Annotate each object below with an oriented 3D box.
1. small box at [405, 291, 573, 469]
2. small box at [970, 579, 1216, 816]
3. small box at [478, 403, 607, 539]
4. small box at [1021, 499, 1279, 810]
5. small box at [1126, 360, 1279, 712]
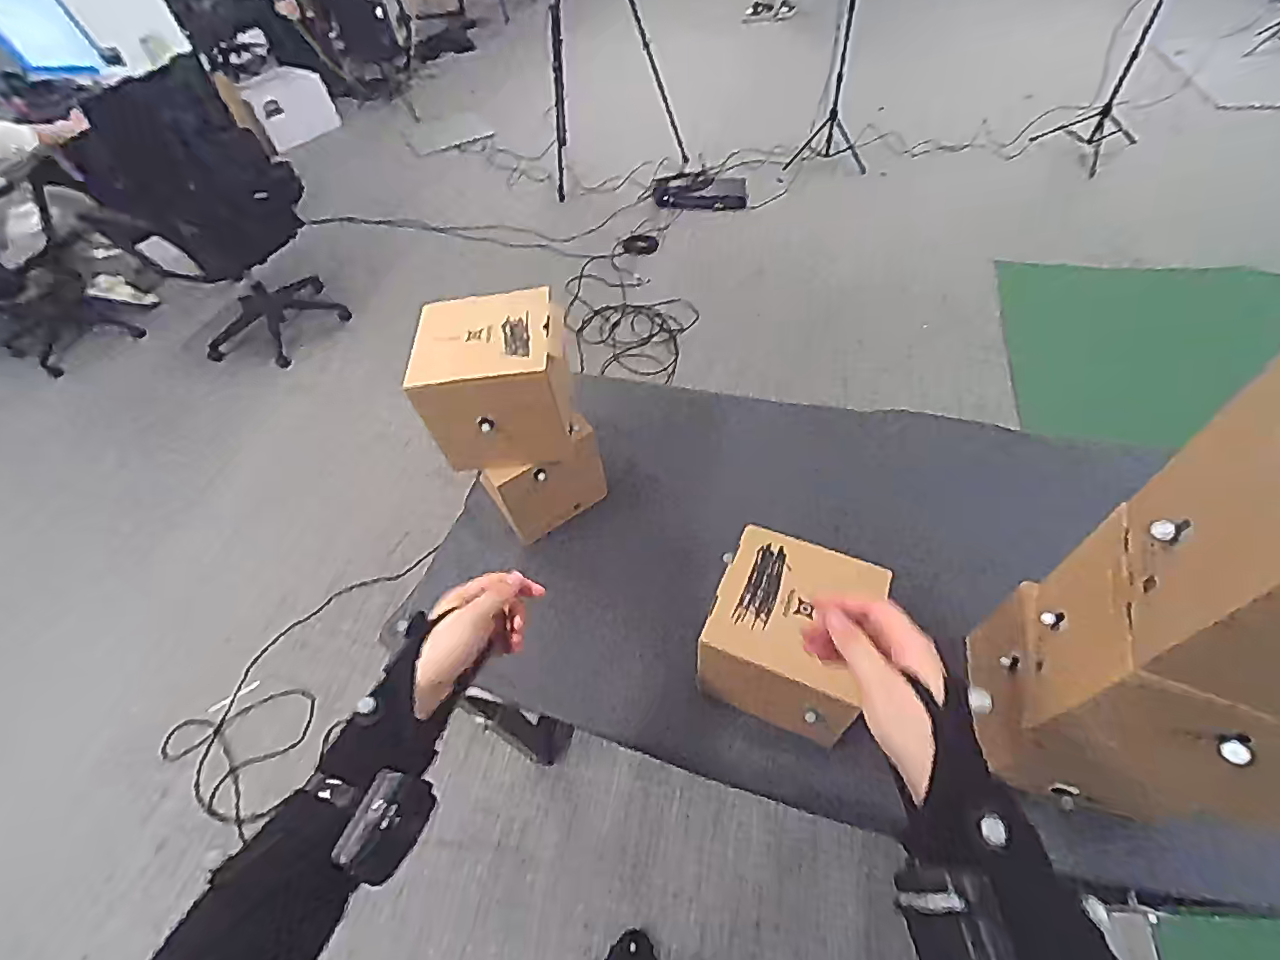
[{"bbox_3d":[-0.191,-0.133,0.747,0.179,0.176,0.168,-7,53,2],"label":"small box"},{"bbox_3d":[0.481,0.237,0.587,0.168,0.176,0.179,8,54,15],"label":"small box"},{"bbox_3d":[-0.173,-0.038,0.881,0.168,0.176,0.179,-32,56,-16],"label":"small box"},{"bbox_3d":[0.460,0.148,0.452,0.179,0.176,0.168,18,56,21],"label":"small box"},{"bbox_3d":[0.447,0.046,0.324,0.179,0.176,0.168,19,56,22],"label":"small box"}]
